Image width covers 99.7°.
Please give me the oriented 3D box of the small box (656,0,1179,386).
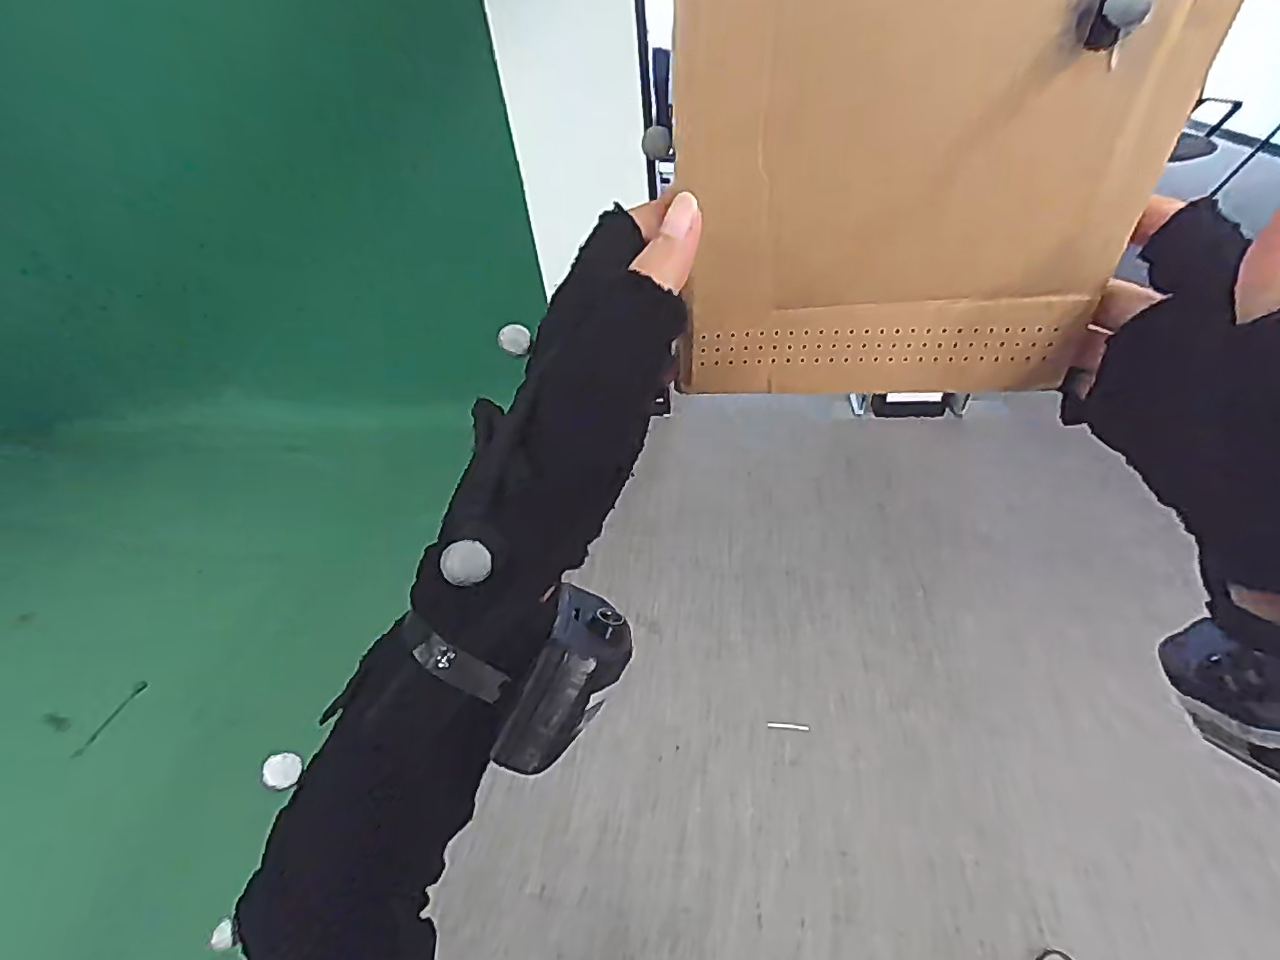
[{"bbox_3d":[0.100,-0.156,0.269,0.179,0.176,0.168,0,38,4],"label":"small box"}]
